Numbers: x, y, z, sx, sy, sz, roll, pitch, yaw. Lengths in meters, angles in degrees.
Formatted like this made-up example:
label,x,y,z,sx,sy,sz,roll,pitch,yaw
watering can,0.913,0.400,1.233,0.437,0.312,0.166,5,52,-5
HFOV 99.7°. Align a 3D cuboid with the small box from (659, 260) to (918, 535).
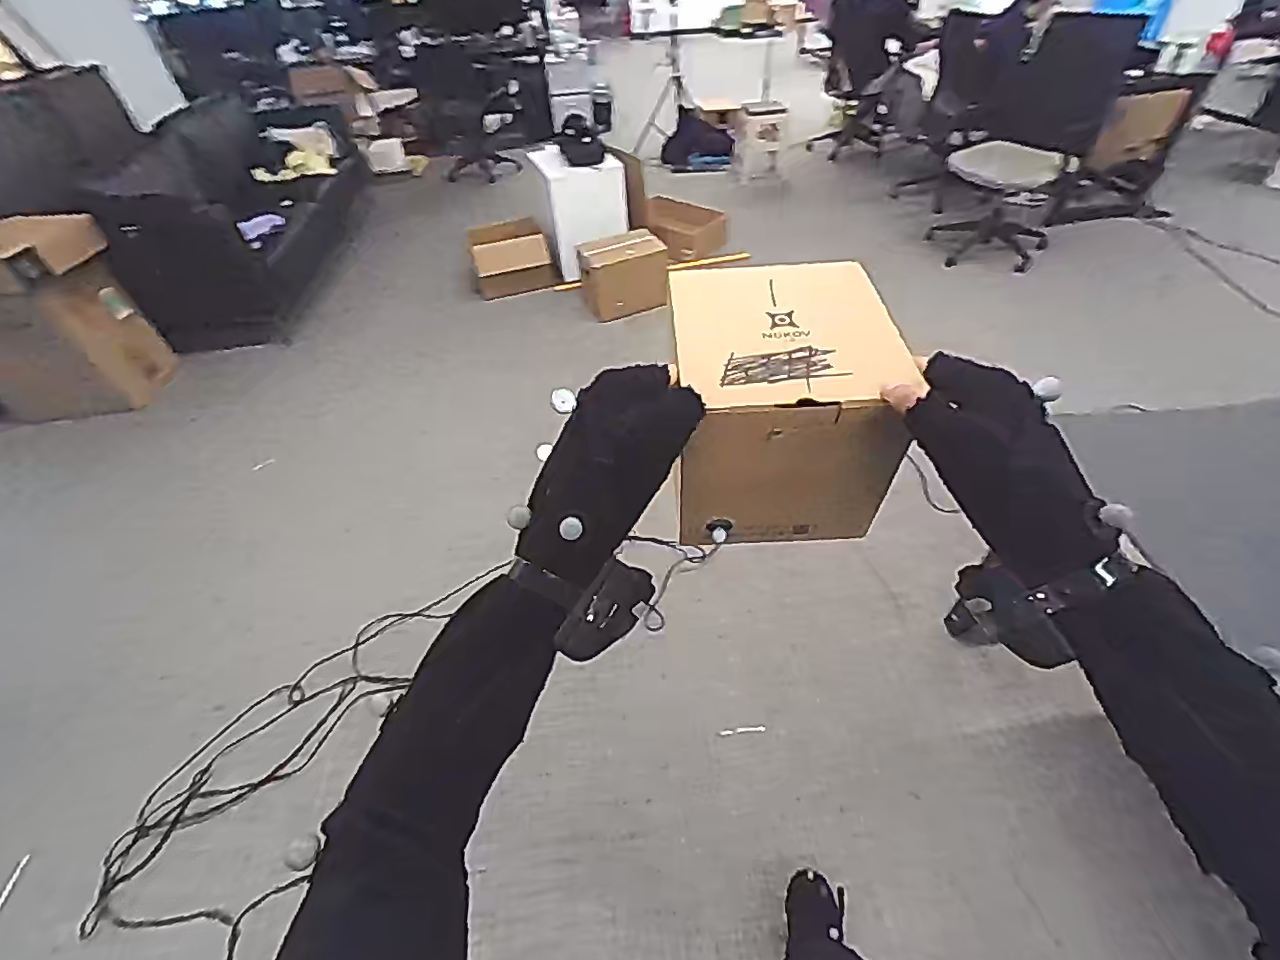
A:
label,x,y,z,sx,sy,sz,roll,pitch,yaw
small box,0.104,-0.063,0.467,0.168,0.176,0.179,-3,50,1
